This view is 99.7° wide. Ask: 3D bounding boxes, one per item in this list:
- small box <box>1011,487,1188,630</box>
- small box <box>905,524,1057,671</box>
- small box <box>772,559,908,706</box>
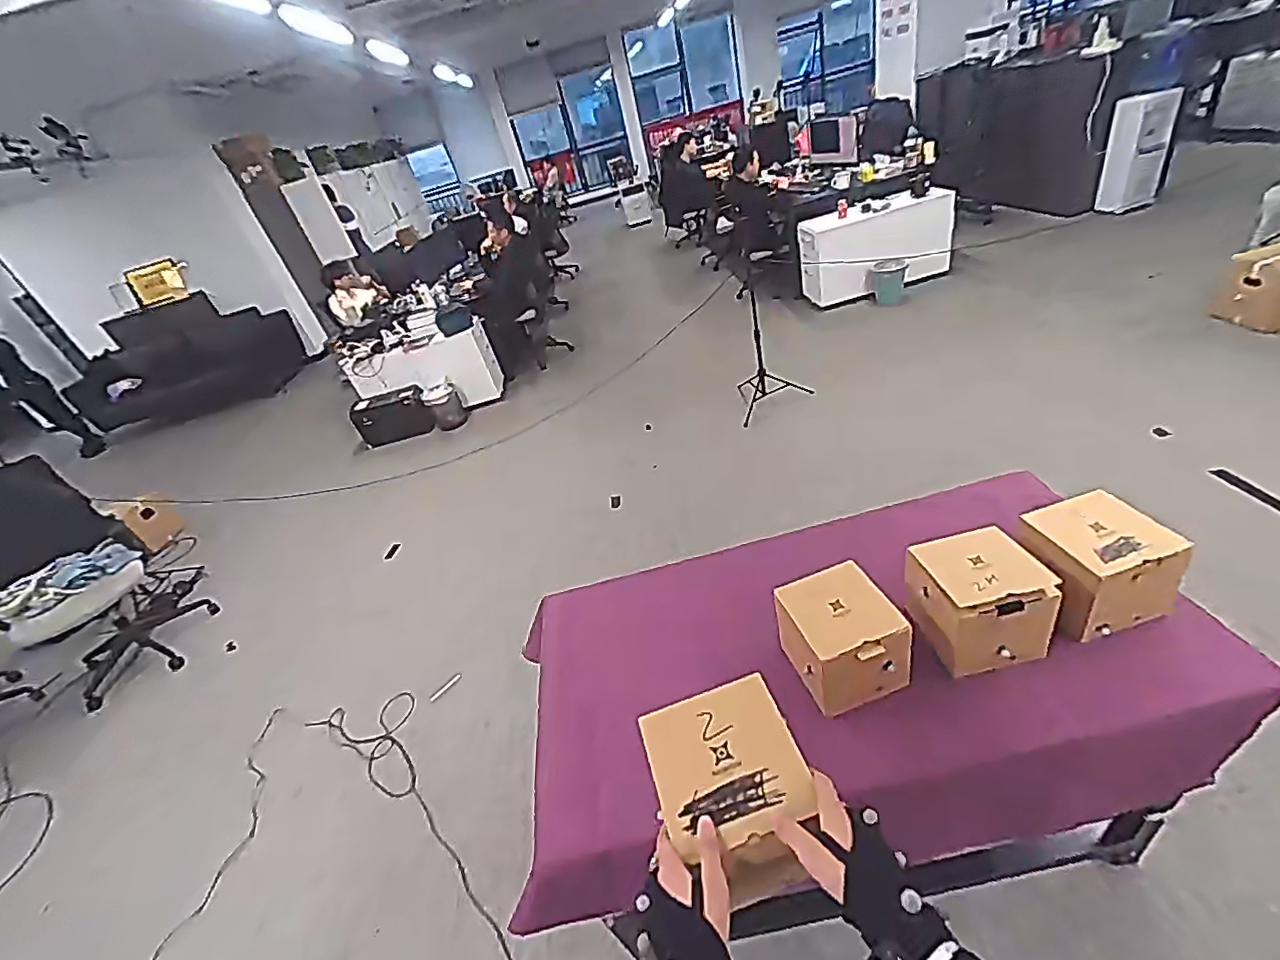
[{"bbox_3d":[0.809,0.146,0.978,0.168,0.176,0.179,-18,33,-1],"label":"small box"},{"bbox_3d":[0.599,0.212,0.978,0.168,0.176,0.179,-15,34,4],"label":"small box"},{"bbox_3d":[0.362,0.283,0.986,0.168,0.176,0.179,-20,34,-5],"label":"small box"}]
